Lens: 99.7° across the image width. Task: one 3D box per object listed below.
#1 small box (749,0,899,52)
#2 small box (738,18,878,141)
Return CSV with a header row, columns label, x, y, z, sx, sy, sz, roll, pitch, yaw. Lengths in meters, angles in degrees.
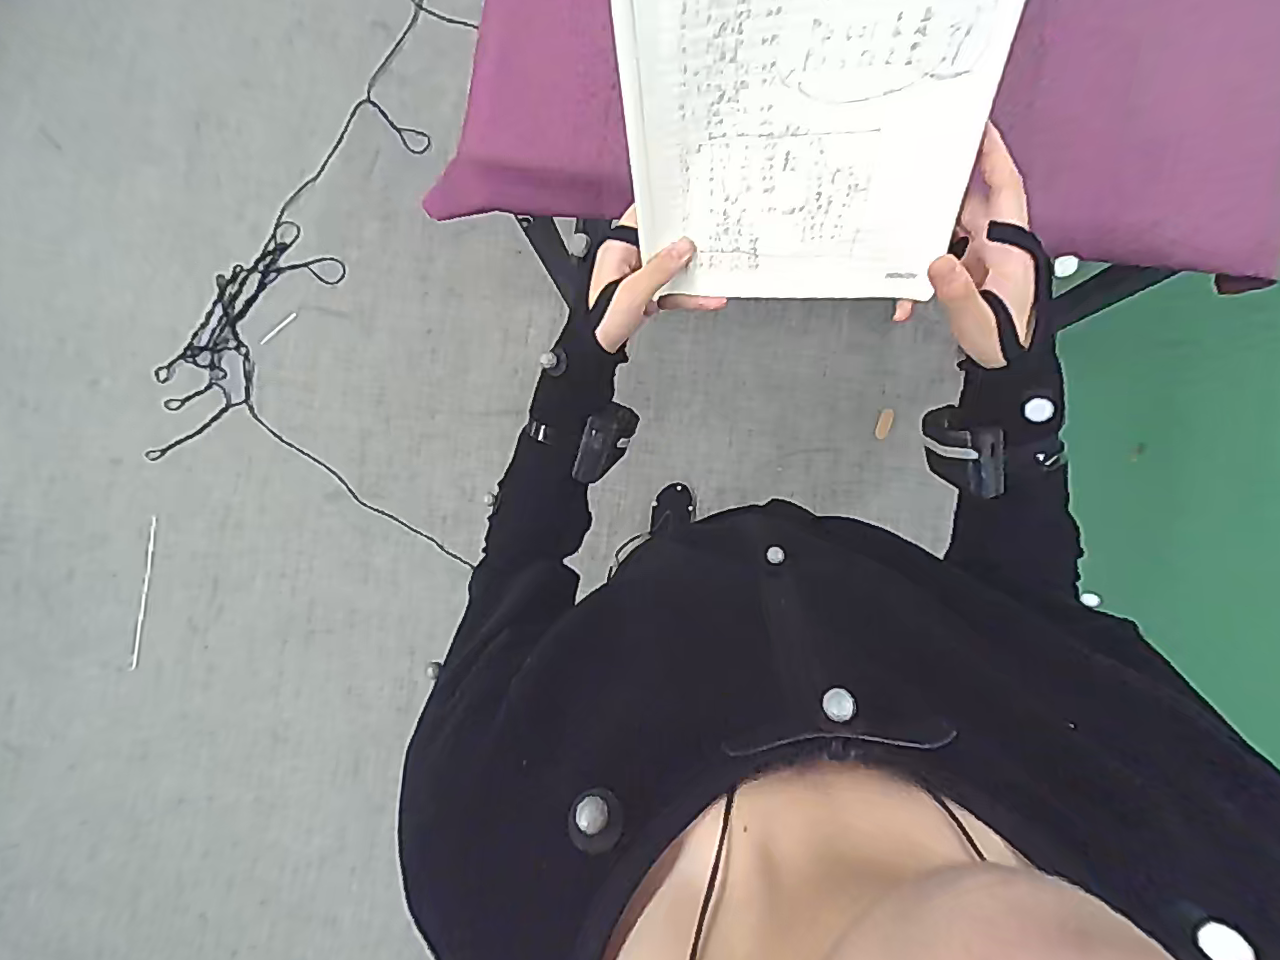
label,x,y,z,sx,sy,sz,roll,pitch,yaw
small box,0.217,-0.615,0.586,0.168,0.176,0.179,9,86,6
small box,0.233,-0.610,0.751,0.168,0.176,0.179,9,88,5
